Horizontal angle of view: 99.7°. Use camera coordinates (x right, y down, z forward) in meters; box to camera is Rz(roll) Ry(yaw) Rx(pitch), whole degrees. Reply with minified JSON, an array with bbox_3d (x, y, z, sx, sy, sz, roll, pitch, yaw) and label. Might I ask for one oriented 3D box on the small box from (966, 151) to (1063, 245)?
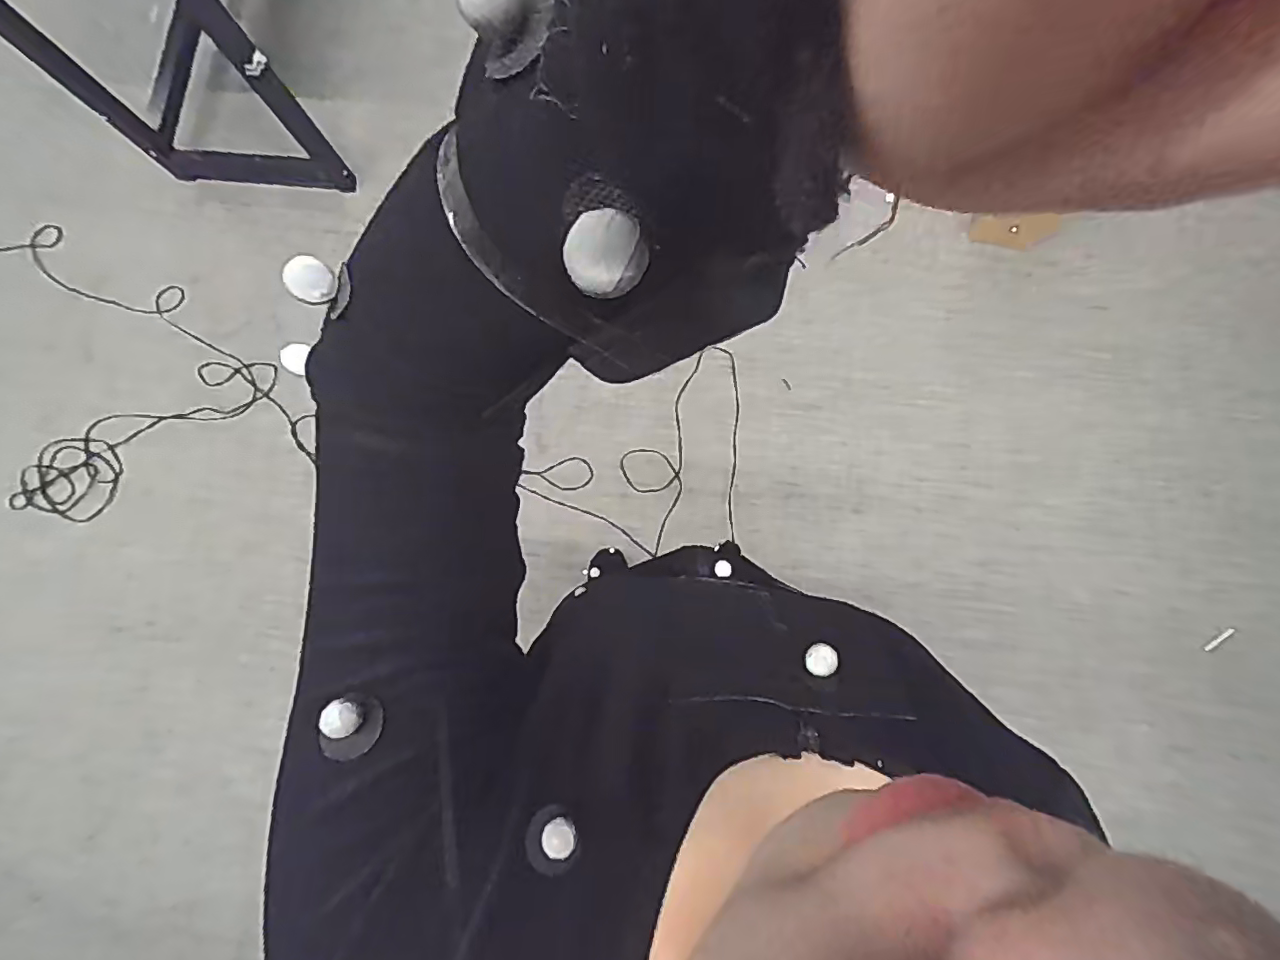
[{"bbox_3d":[1.091,-0.811,1.572,0.179,0.176,0.168,12,82,3],"label":"small box"}]
